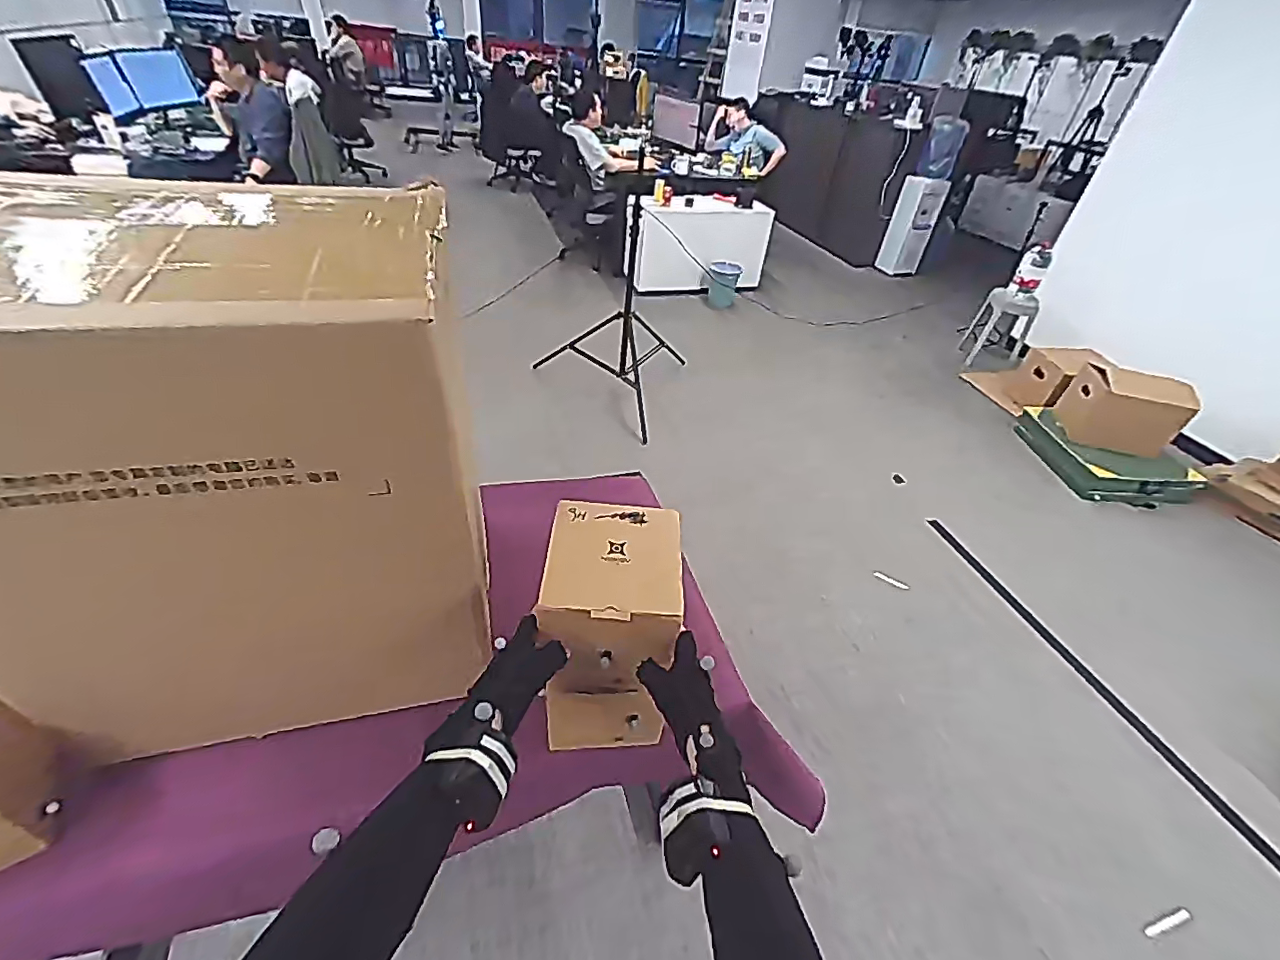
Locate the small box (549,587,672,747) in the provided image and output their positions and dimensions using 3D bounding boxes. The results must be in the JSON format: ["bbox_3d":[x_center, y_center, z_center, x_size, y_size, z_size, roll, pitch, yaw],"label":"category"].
[{"bbox_3d":[-0.051,0.284,0.816,0.168,0.176,0.179,1,39,-9],"label":"small box"}]
